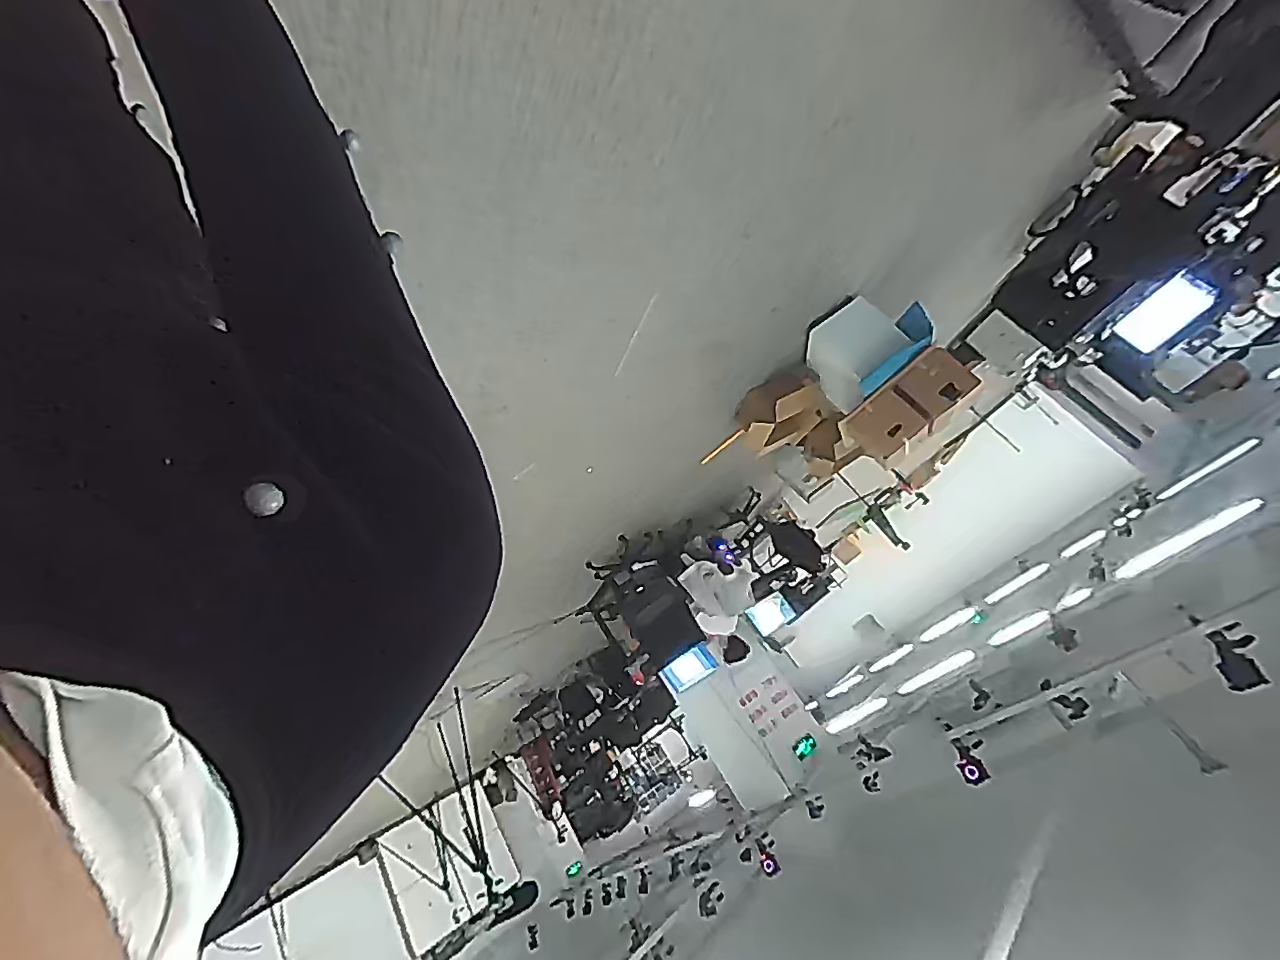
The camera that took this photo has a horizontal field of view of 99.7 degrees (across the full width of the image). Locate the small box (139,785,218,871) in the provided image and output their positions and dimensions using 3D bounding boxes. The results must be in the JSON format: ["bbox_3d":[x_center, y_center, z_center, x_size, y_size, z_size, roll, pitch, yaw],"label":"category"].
[{"bbox_3d":[-1.524,1.147,1.791,0.168,0.176,0.179,-16,149,-40],"label":"small box"}]
